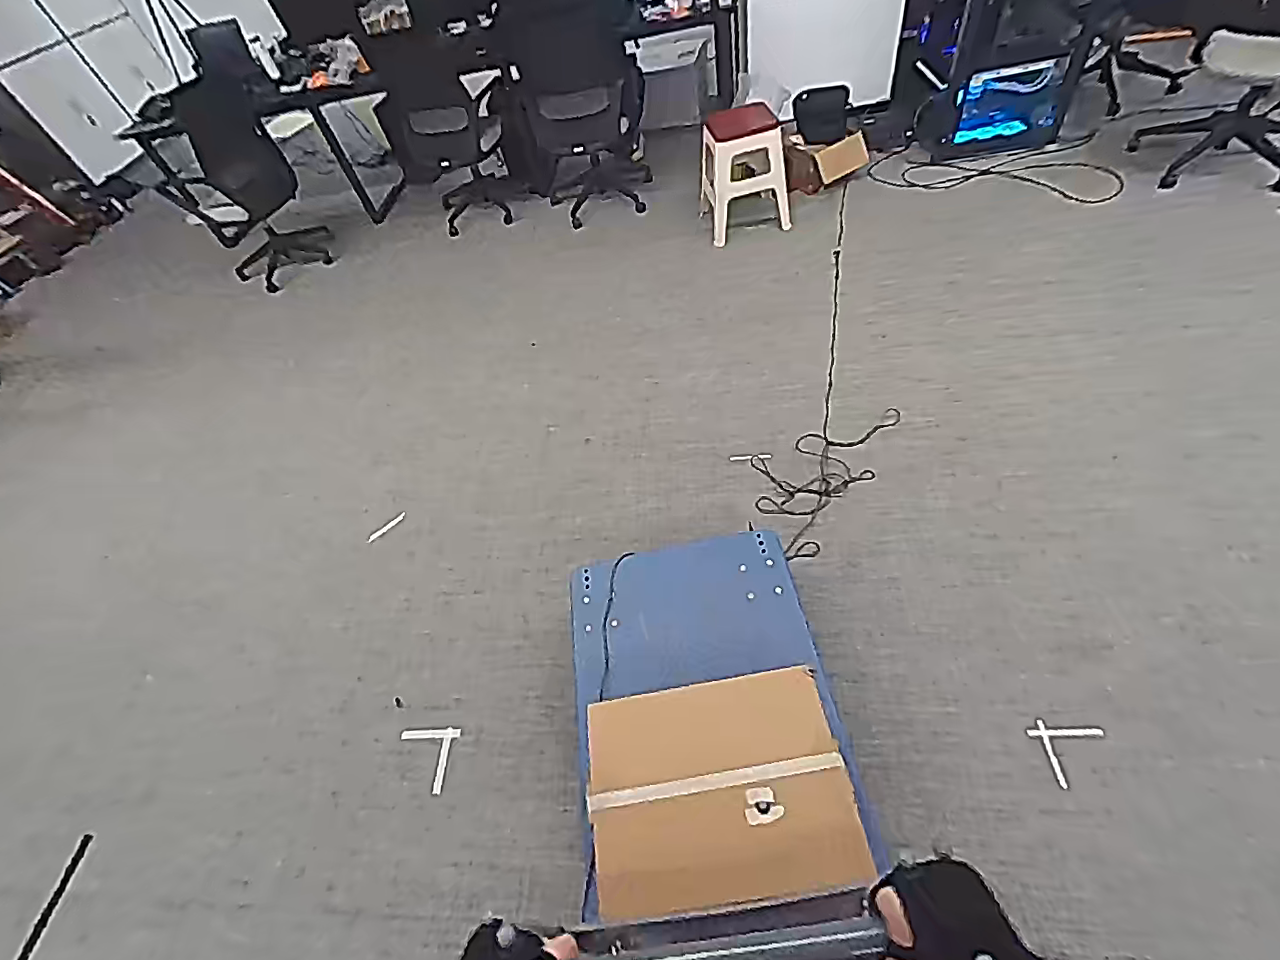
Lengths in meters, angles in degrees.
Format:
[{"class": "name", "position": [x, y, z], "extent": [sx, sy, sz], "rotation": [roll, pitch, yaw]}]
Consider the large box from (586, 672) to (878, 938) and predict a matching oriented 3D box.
[{"class": "large box", "position": [0.140, 0.580, 0.958], "extent": [0.408, 0.320, 0.320], "rotation": [-11, 51, 3]}]
